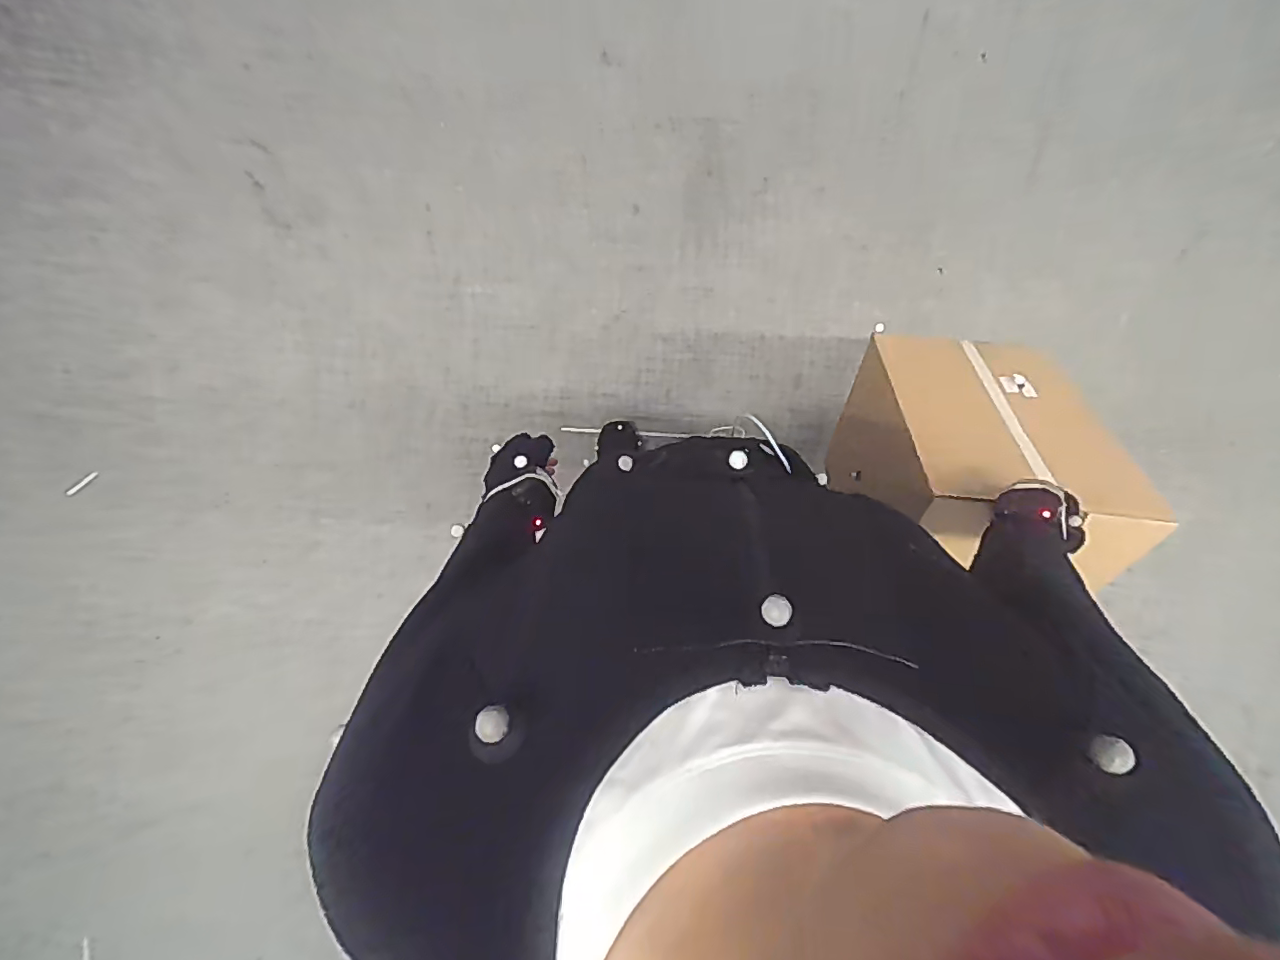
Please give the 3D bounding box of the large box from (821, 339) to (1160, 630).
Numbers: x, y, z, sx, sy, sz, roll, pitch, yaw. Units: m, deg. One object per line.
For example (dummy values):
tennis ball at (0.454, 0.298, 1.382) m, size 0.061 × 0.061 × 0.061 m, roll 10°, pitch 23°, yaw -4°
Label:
large box at (0.536, 0.002, 0.947) m, size 0.320 × 0.408 × 0.320 m, roll 7°, pitch 135°, yaw 1°
